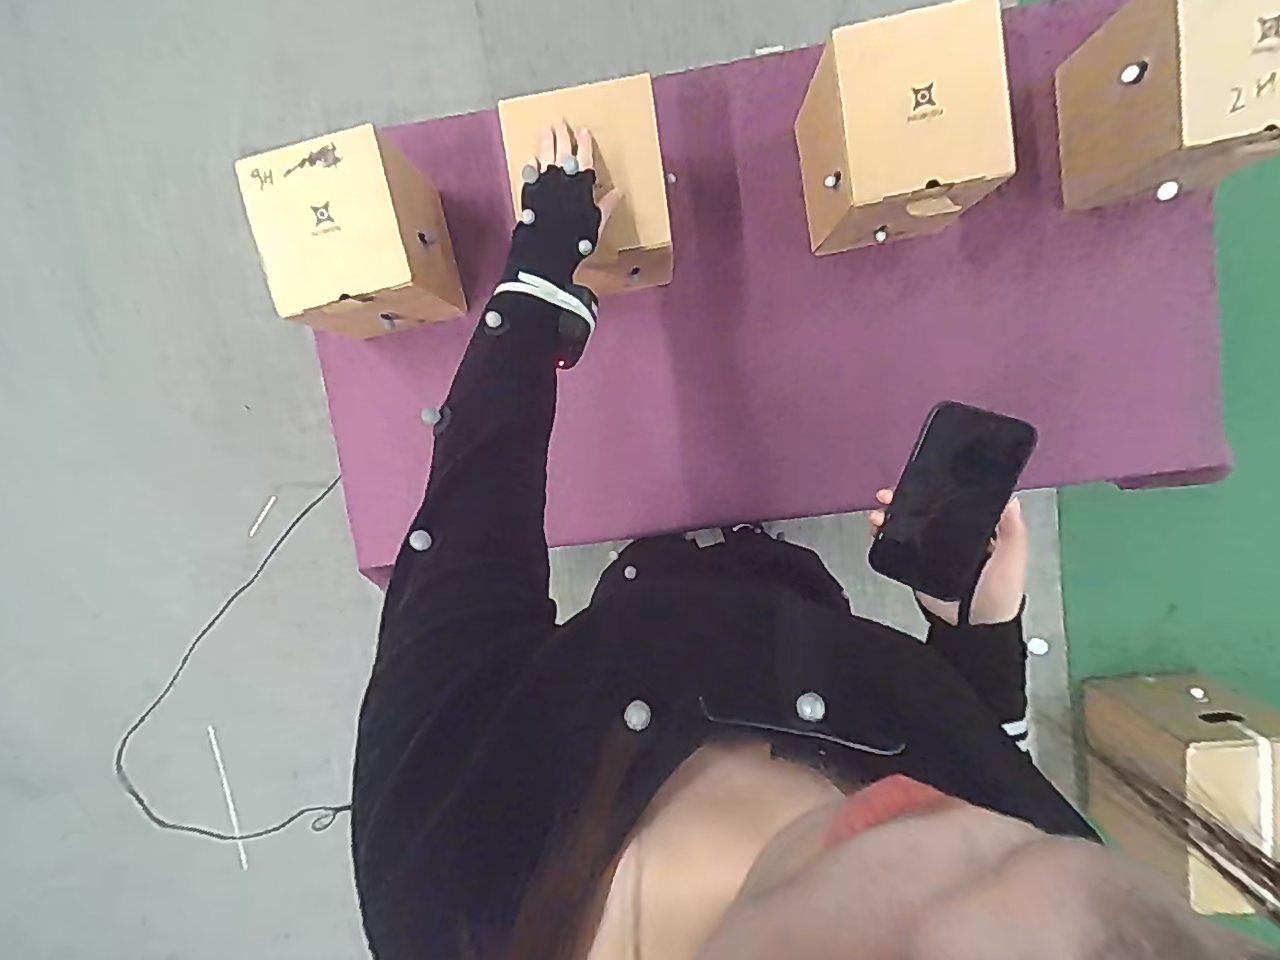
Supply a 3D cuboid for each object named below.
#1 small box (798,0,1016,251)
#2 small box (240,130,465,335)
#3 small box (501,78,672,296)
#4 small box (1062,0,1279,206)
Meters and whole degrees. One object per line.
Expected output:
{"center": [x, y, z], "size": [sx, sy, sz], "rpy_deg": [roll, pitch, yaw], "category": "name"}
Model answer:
{"center": [0.291, -0.392, 0.626], "size": [0.168, 0.176, 0.179], "rpy_deg": [-10, 96, 5], "category": "small box"}
{"center": [-0.341, -0.289, 0.679], "size": [0.168, 0.176, 0.179], "rpy_deg": [-12, 96, 5], "category": "small box"}
{"center": [-0.052, -0.332, 0.656], "size": [0.168, 0.176, 0.179], "rpy_deg": [-8, 95, 4], "category": "small box"}
{"center": [0.606, -0.434, 0.594], "size": [0.168, 0.176, 0.179], "rpy_deg": [-8, 96, 6], "category": "small box"}
